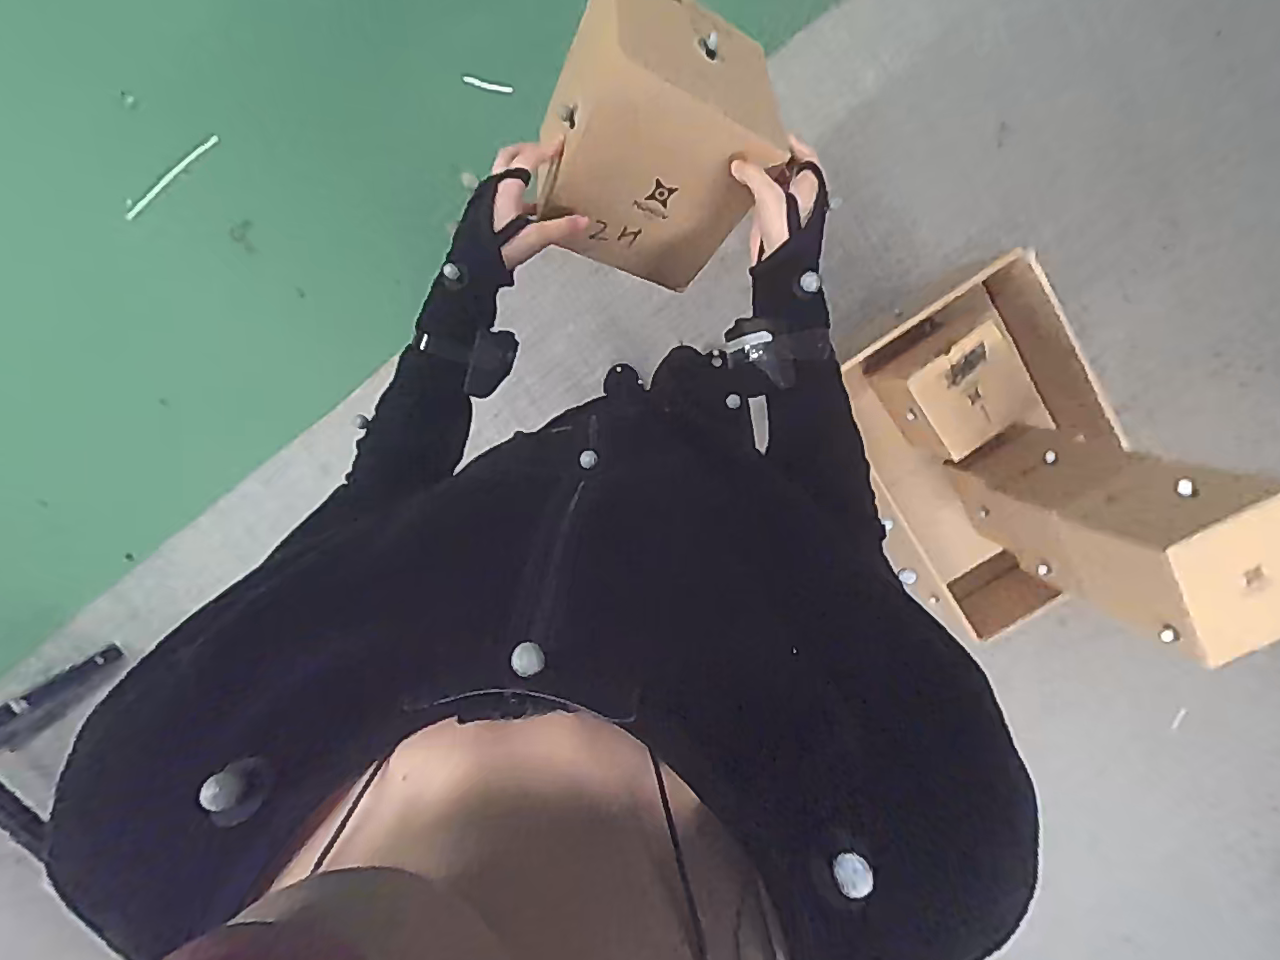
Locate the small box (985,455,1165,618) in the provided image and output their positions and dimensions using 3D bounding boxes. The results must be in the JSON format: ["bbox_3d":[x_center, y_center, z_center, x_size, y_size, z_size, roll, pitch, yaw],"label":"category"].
[{"bbox_3d":[0.699,0.079,0.858,0.168,0.176,0.179,-30,99,7],"label":"small box"}]

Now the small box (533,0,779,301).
[{"bbox_3d":[0.002,-0.314,0.519,0.168,0.179,0.176,10,61,-26],"label":"small box"}]
